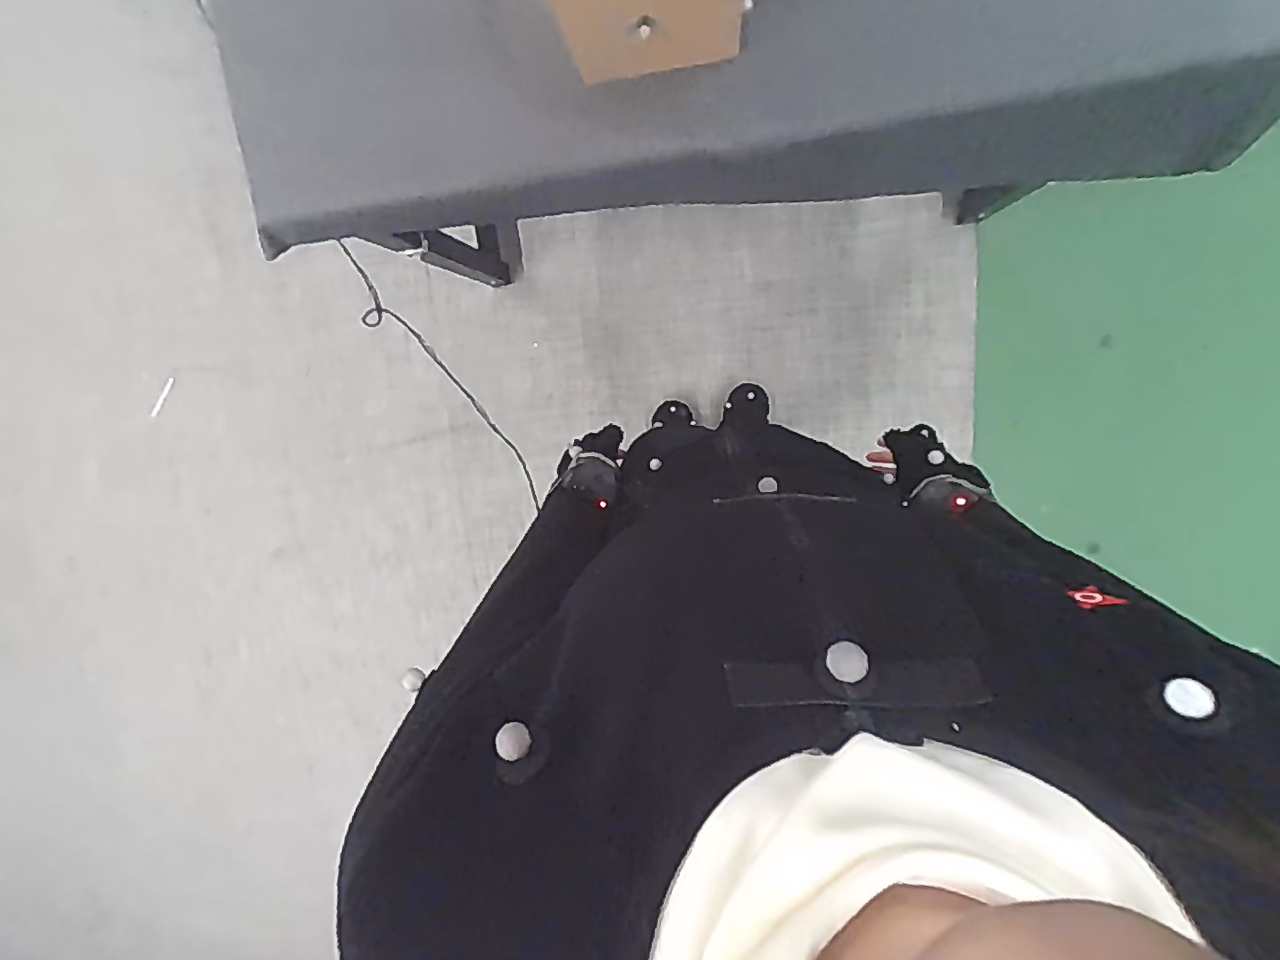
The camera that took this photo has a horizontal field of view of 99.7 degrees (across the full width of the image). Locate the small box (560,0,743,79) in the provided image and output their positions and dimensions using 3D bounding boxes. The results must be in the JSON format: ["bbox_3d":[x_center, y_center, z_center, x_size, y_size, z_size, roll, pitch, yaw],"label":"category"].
[{"bbox_3d":[0.008,-0.528,0.518,0.179,0.176,0.168,-7,101,8],"label":"small box"}]
